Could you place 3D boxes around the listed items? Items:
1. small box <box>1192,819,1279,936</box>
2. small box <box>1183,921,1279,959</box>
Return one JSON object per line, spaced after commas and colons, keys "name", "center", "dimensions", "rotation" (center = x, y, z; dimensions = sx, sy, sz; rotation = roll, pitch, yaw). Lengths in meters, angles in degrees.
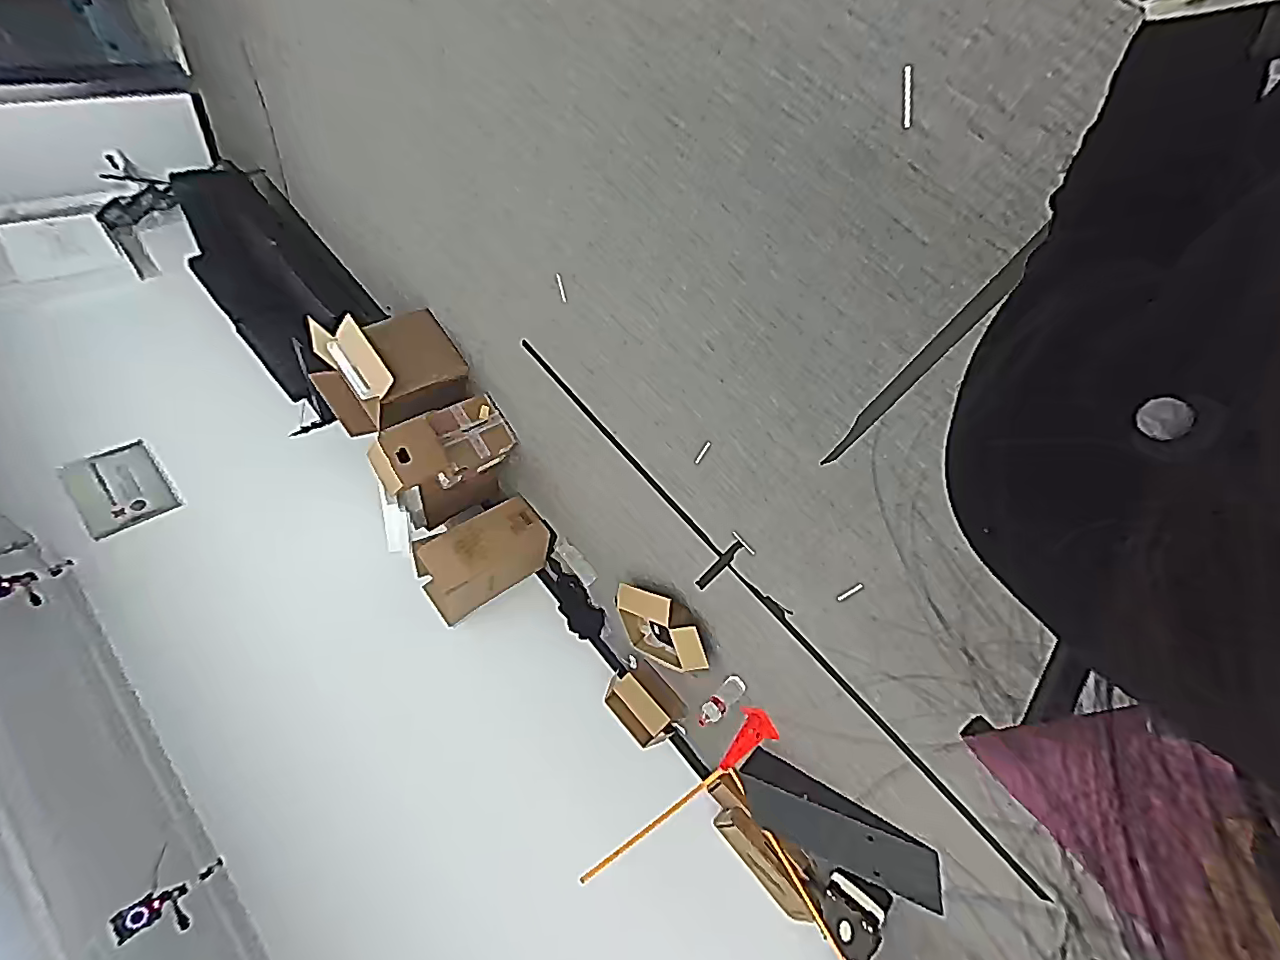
{"name": "small box", "center": [0.821, 0.538, 0.631], "dimensions": [0.179, 0.176, 0.168], "rotation": [50, 146, 13]}
{"name": "small box", "center": [0.701, 0.608, 0.544], "dimensions": [0.179, 0.176, 0.168], "rotation": [50, 146, 10]}
